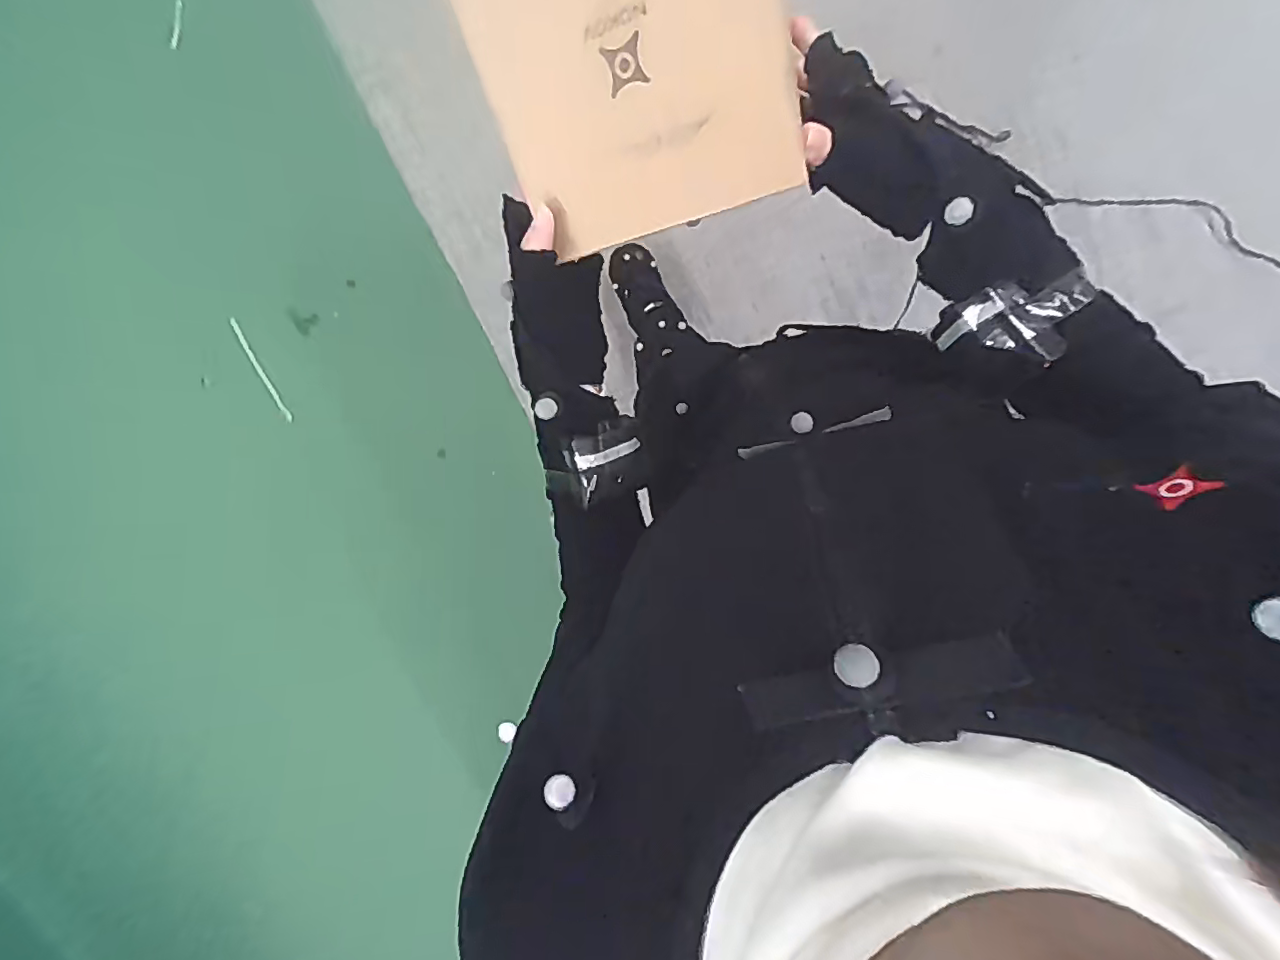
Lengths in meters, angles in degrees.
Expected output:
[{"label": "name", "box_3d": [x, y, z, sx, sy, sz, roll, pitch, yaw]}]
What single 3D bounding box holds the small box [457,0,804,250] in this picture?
[{"label": "small box", "box_3d": [0.010, -0.274, 0.350, 0.168, 0.176, 0.179, -7, 122, 23]}]
